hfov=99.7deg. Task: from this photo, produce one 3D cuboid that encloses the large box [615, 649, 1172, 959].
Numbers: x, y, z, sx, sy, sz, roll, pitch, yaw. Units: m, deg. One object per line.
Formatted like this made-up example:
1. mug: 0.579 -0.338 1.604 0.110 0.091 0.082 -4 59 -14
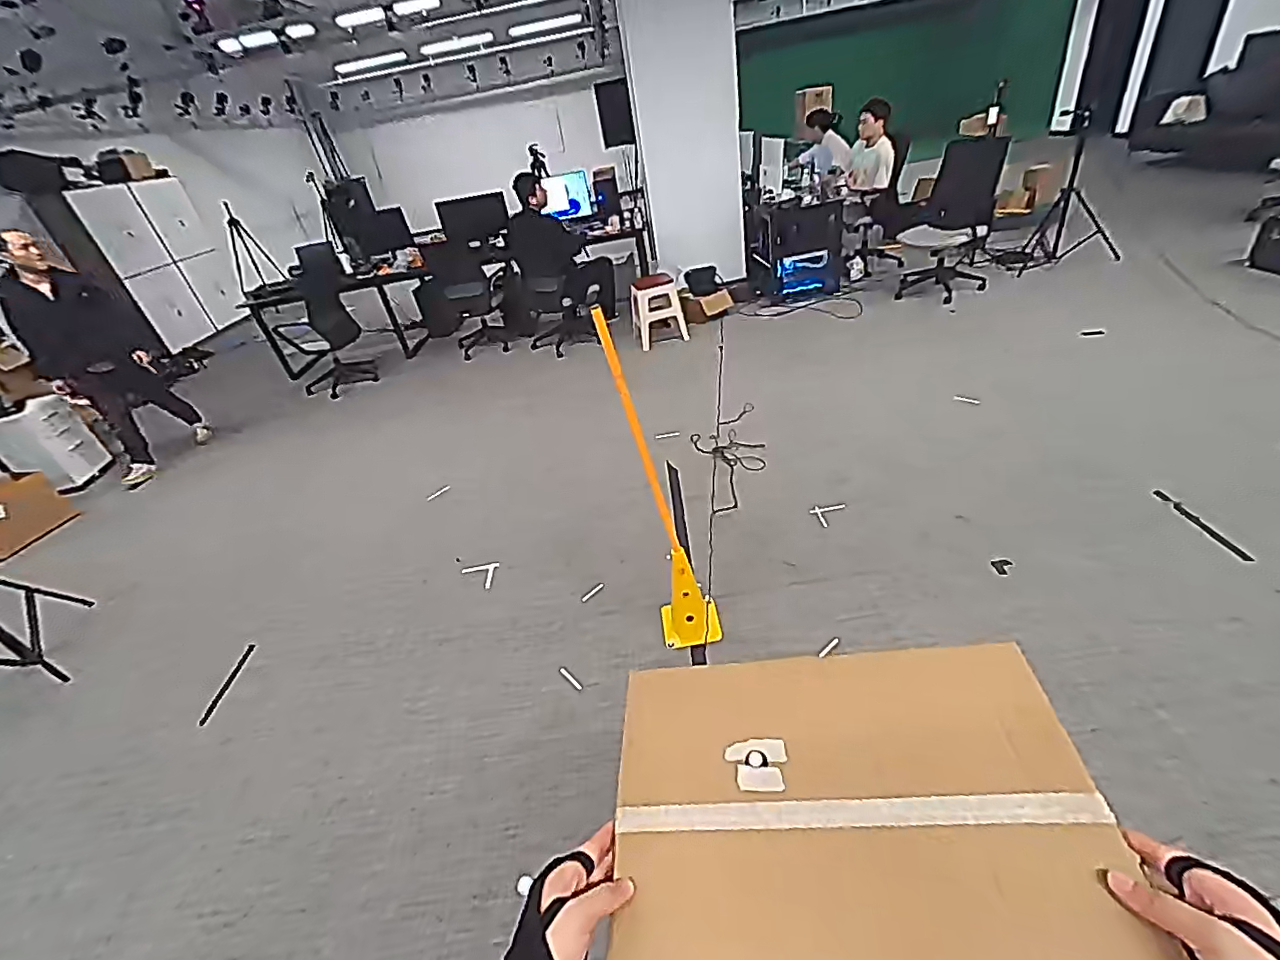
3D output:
1. large box: 0.214 0.415 0.565 0.408 0.320 0.320 -10 36 12
